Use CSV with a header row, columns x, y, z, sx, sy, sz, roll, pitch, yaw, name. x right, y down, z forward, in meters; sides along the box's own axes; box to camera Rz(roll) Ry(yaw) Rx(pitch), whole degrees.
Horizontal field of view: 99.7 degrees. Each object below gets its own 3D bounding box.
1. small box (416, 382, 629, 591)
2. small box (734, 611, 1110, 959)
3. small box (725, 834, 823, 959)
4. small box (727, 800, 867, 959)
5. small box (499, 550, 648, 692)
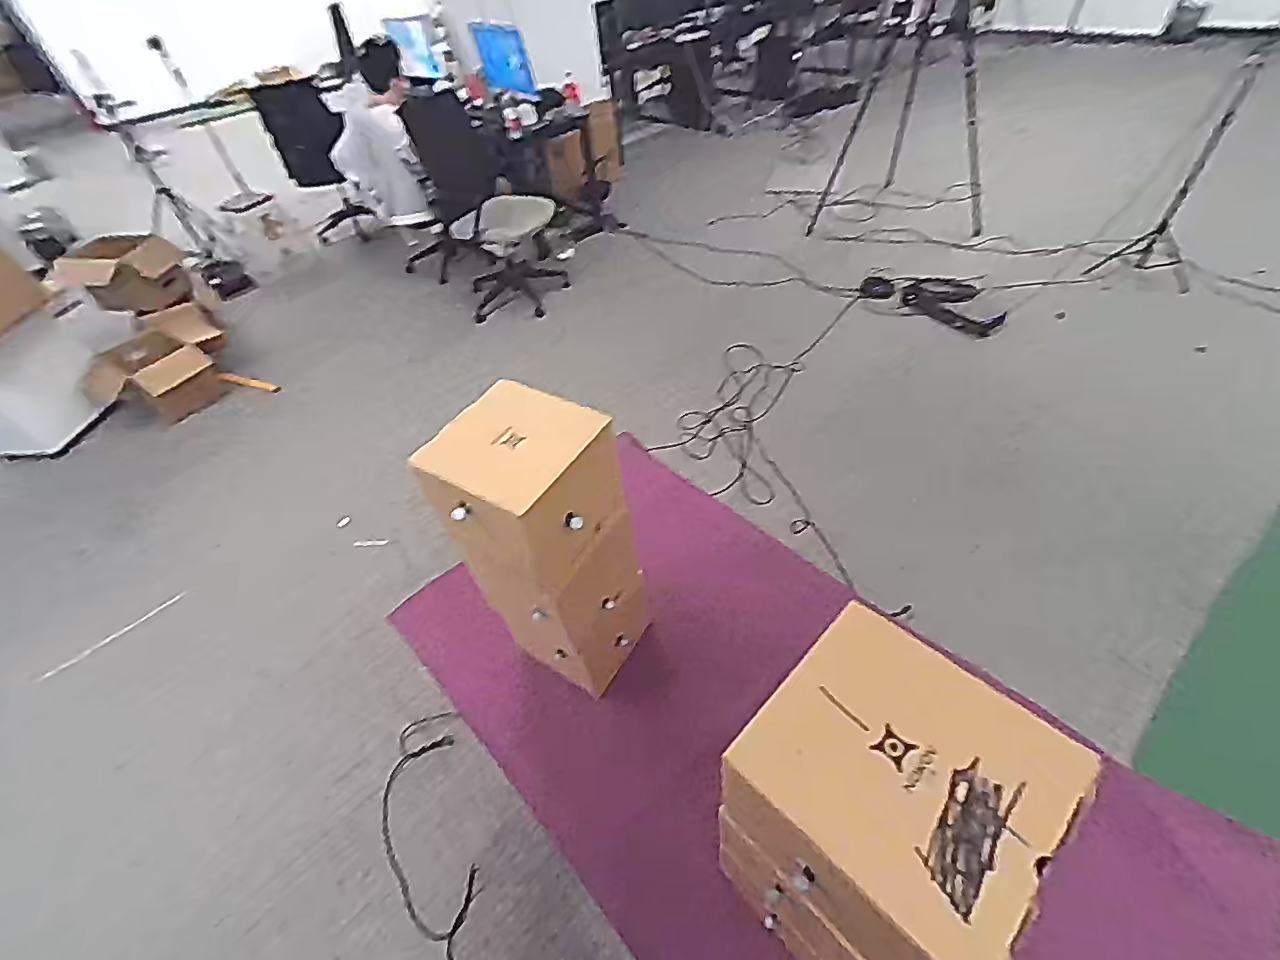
x,y,z,sx,sy,sz,roll,pitch,yaw,name
-0.129,0.012,0.667,0.179,0.176,0.168,22,54,24,small box
0.190,0.243,0.413,0.168,0.176,0.179,-38,52,-25,small box
0.217,0.470,0.649,0.168,0.176,0.179,-35,52,-23,small box
0.203,0.356,0.532,0.168,0.176,0.179,-37,52,-24,small box
-0.100,0.228,0.910,0.179,0.176,0.168,23,53,26,small box
